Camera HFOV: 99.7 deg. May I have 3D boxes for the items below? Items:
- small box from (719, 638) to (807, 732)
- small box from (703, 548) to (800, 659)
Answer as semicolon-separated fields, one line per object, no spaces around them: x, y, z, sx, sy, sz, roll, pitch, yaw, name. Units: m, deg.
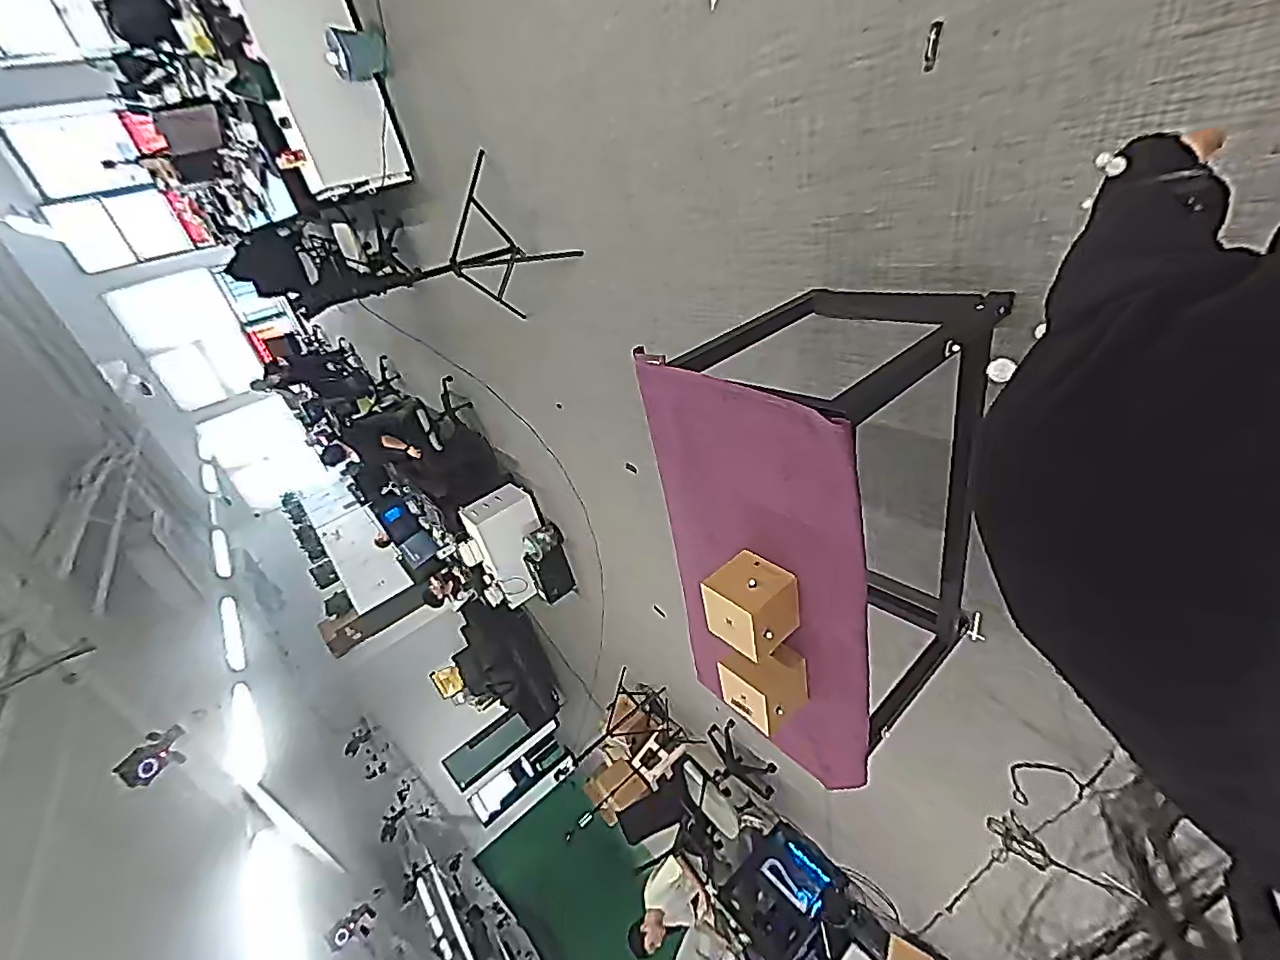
0.344;0.542;1.491;0.168;0.176;0.179;25;137;46;small box
0.282;0.301;1.352;0.168;0.176;0.179;26;139;46;small box
